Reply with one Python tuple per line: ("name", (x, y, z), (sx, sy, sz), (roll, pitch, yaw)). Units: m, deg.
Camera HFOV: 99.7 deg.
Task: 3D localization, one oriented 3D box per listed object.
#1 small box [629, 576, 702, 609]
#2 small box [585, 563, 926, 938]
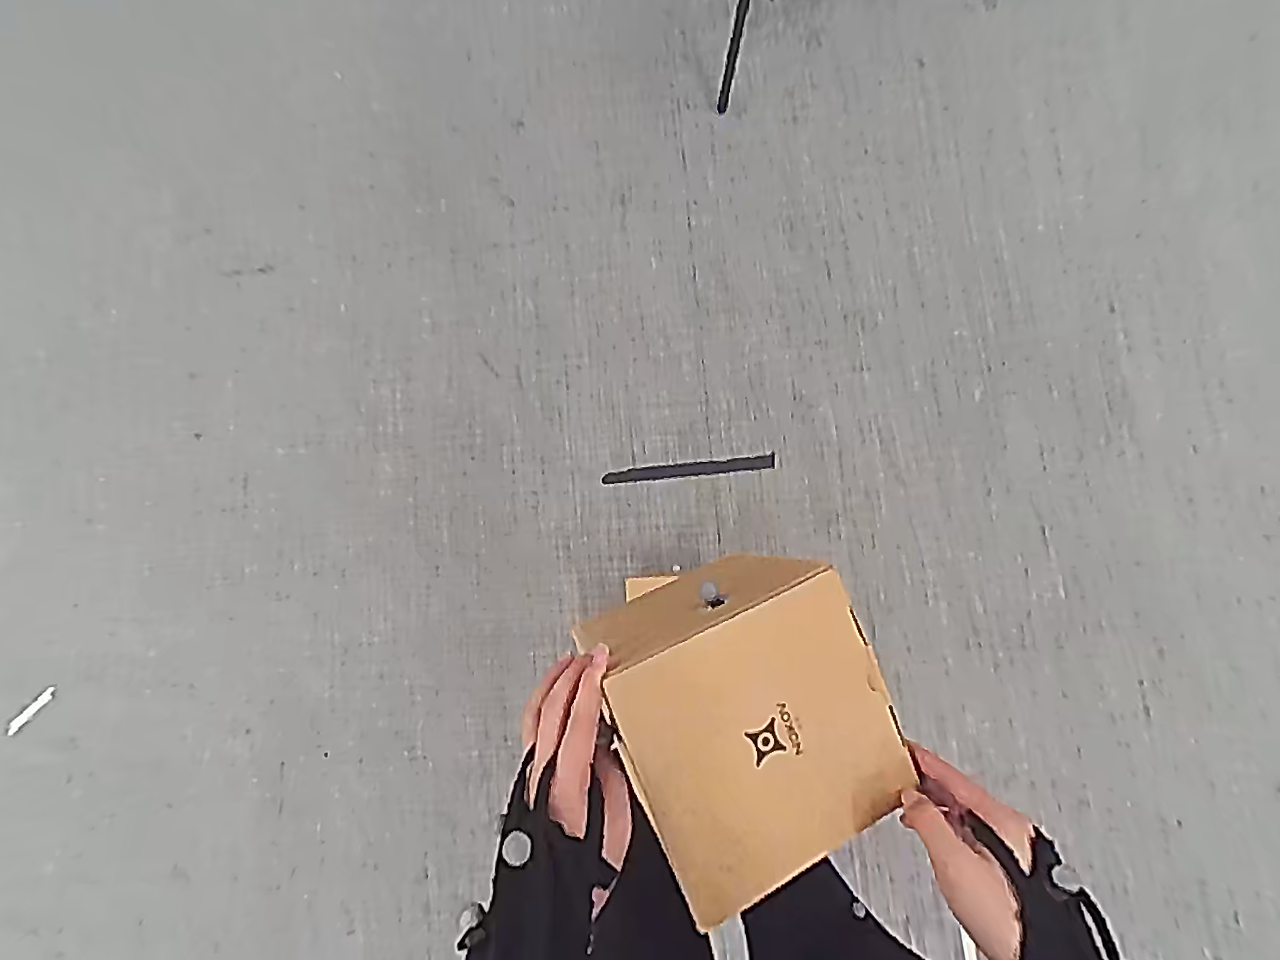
("small box", (0.070, 0.275, 1.021), (0.168, 0.176, 0.179), (-3, 82, 4))
("small box", (0.066, 0.173, 0.416), (0.179, 0.176, 0.168), (-22, 90, -15))
